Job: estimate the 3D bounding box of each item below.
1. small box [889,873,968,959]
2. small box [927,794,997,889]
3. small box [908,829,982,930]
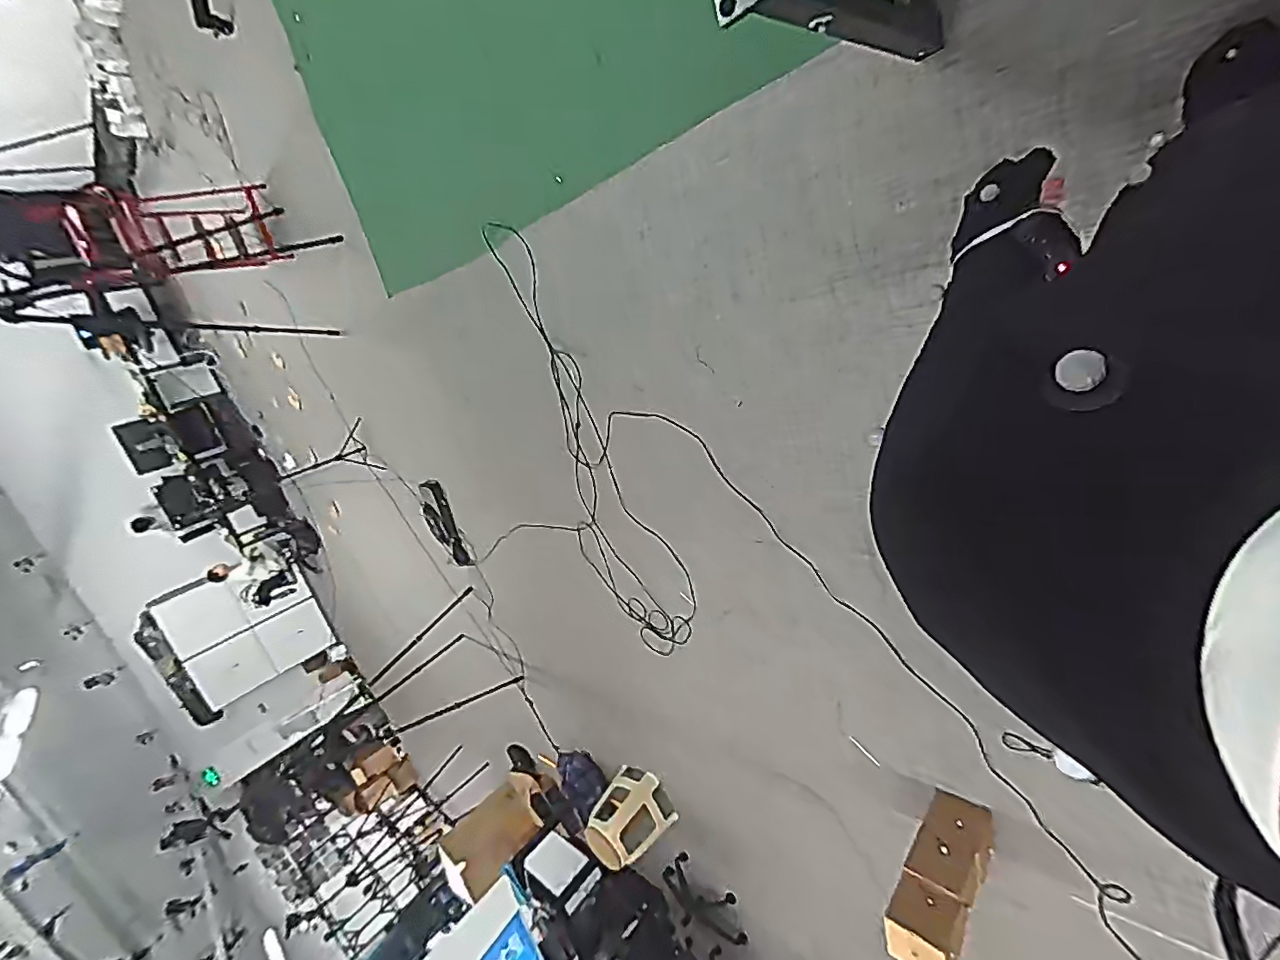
[{"bbox_3d":[0.863,1.338,1.609,0.168,0.176,0.179,4,116,45],"label":"small box"},{"bbox_3d":[1.081,1.201,1.811,0.179,0.176,0.168,4,116,44],"label":"small box"},{"bbox_3d":[0.967,1.265,1.710,0.168,0.176,0.179,5,116,44],"label":"small box"}]
